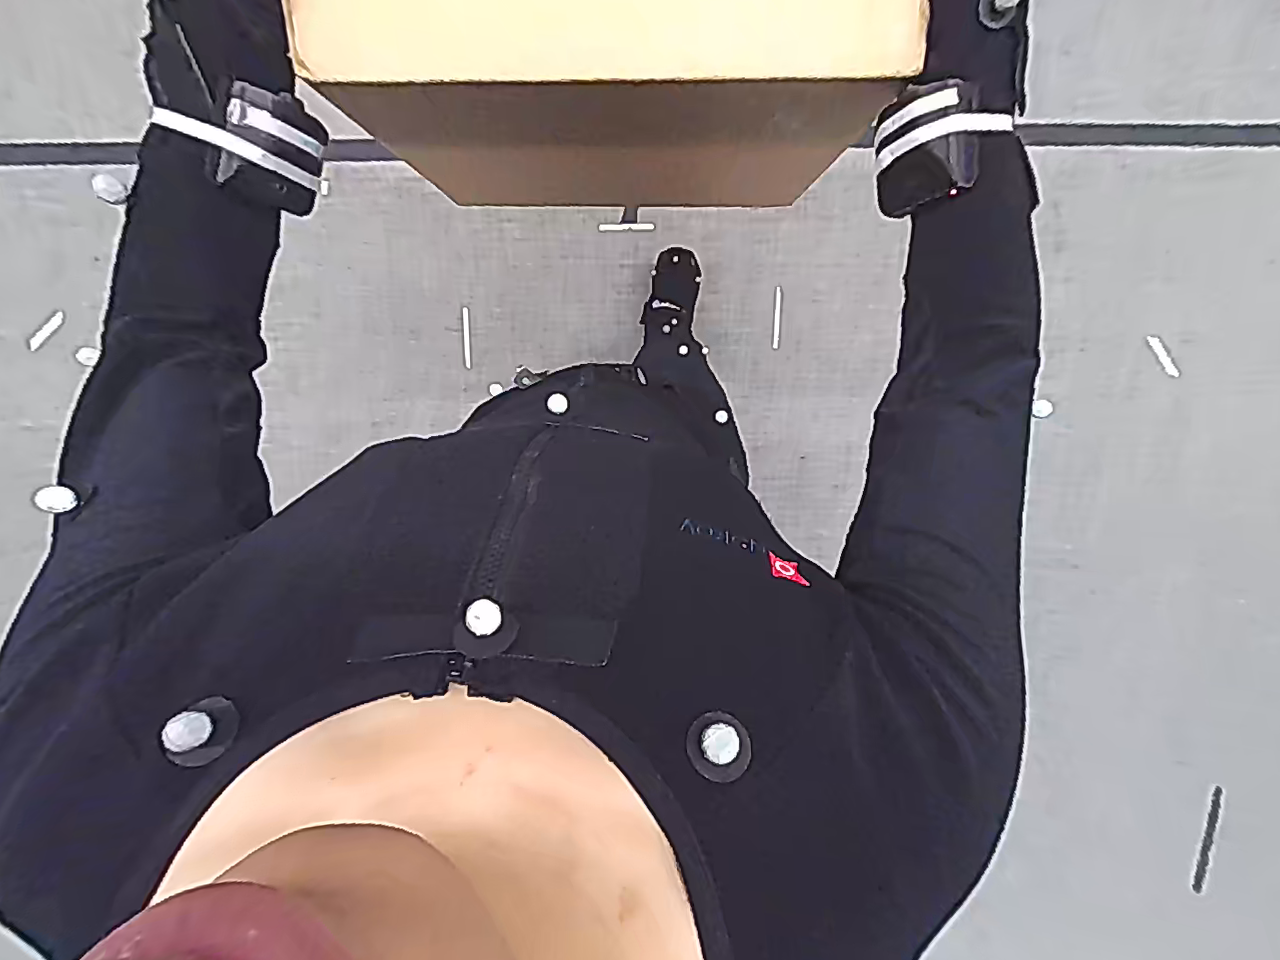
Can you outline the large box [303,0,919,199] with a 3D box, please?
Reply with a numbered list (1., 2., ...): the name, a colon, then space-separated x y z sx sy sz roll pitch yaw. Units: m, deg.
1. large box: -0.022 -0.456 0.468 0.408 0.320 0.320 0 103 0
